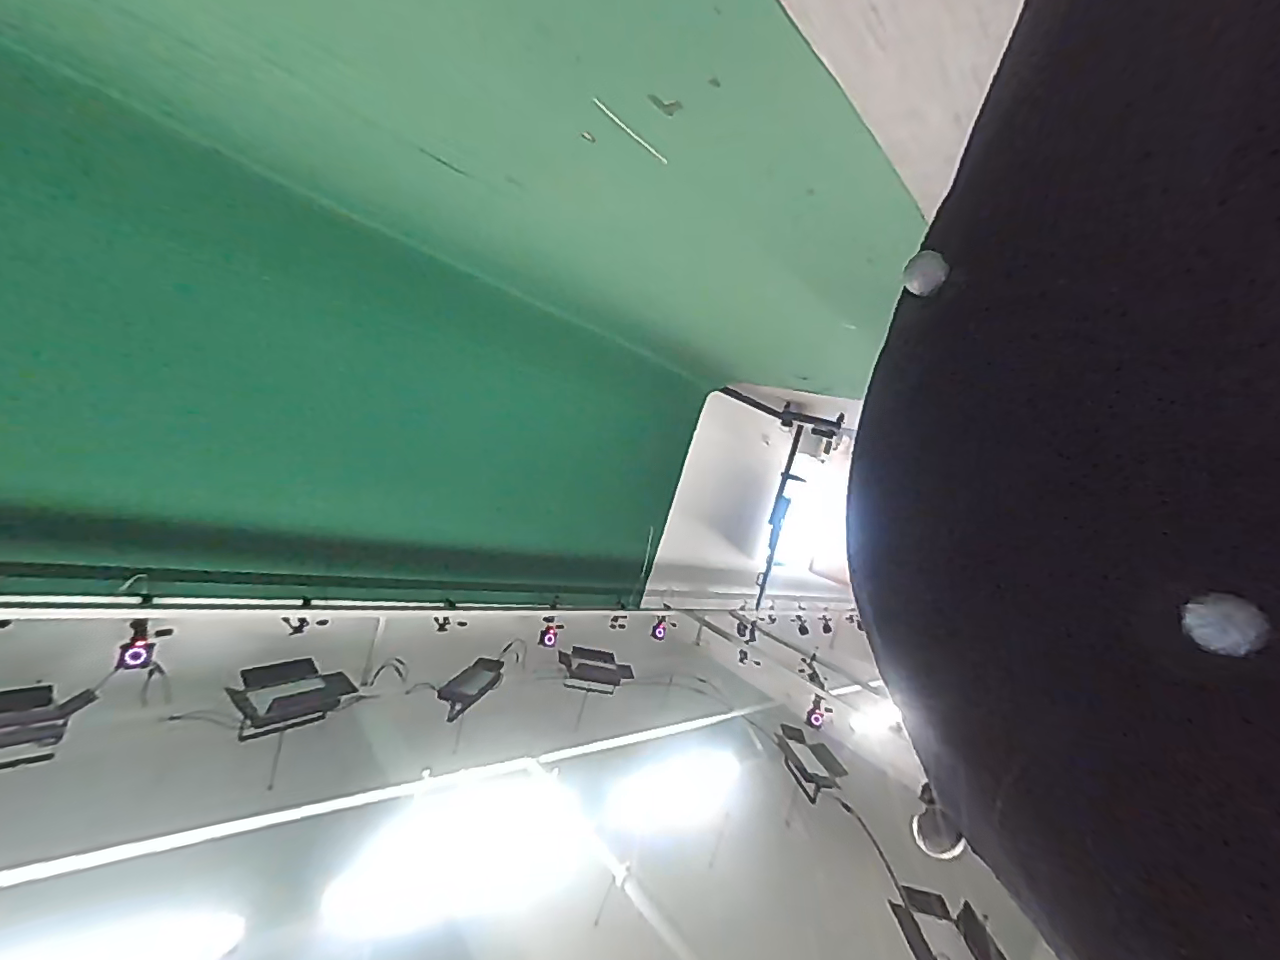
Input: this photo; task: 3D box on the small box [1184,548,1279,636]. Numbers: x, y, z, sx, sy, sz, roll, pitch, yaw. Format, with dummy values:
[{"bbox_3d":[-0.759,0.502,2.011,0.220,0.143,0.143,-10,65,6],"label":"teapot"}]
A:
[{"bbox_3d":[1.558,0.285,1.391,0.179,0.176,0.168,15,-177,-34],"label":"small box"}]
